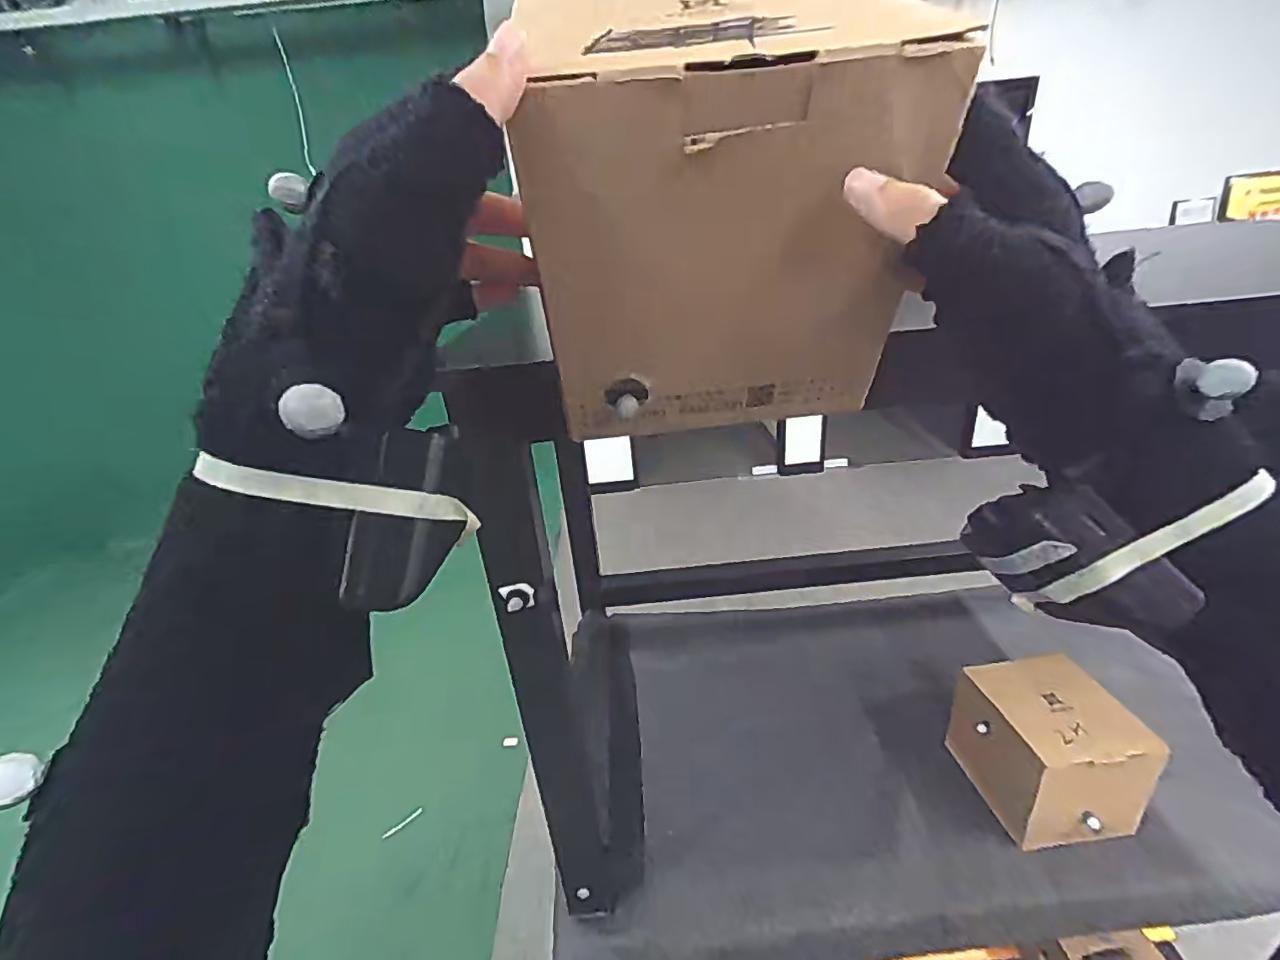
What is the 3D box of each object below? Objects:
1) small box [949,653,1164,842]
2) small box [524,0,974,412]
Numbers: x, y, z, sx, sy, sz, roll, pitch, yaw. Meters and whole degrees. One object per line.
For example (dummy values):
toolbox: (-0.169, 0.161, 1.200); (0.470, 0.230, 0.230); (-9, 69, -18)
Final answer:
small box: (0.587, 0.385, 0.793); (0.168, 0.176, 0.179); (-7, 24, -2)
small box: (0.037, -0.152, 0.304); (0.168, 0.176, 0.179); (-6, 48, -2)
